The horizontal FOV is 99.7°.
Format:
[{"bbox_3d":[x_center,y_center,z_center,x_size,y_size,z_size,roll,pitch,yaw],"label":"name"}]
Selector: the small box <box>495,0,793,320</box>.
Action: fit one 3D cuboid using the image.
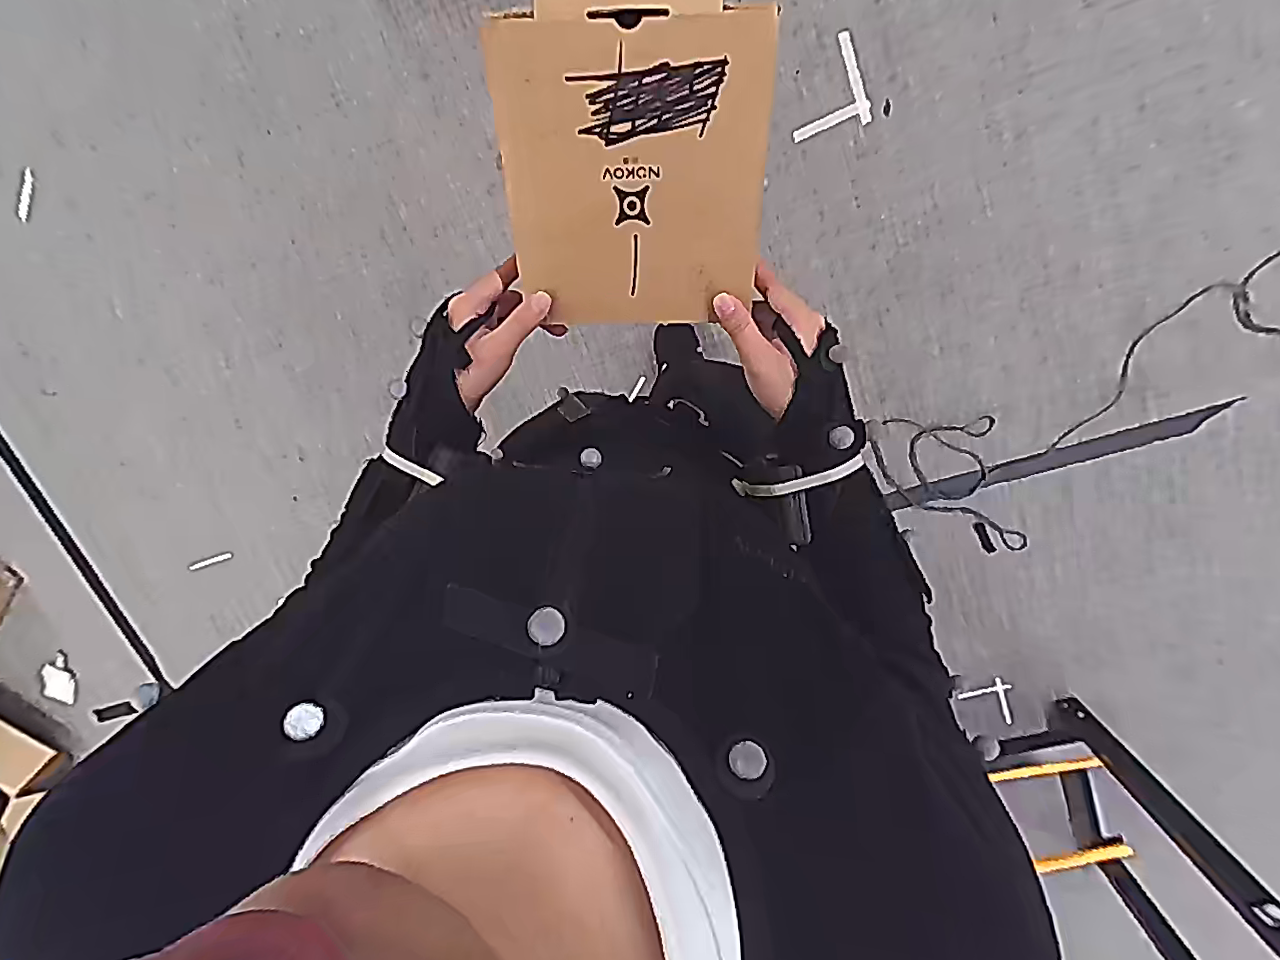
[{"bbox_3d":[0.002,-0.236,0.404,0.168,0.176,0.179,1,128,1],"label":"small box"}]
